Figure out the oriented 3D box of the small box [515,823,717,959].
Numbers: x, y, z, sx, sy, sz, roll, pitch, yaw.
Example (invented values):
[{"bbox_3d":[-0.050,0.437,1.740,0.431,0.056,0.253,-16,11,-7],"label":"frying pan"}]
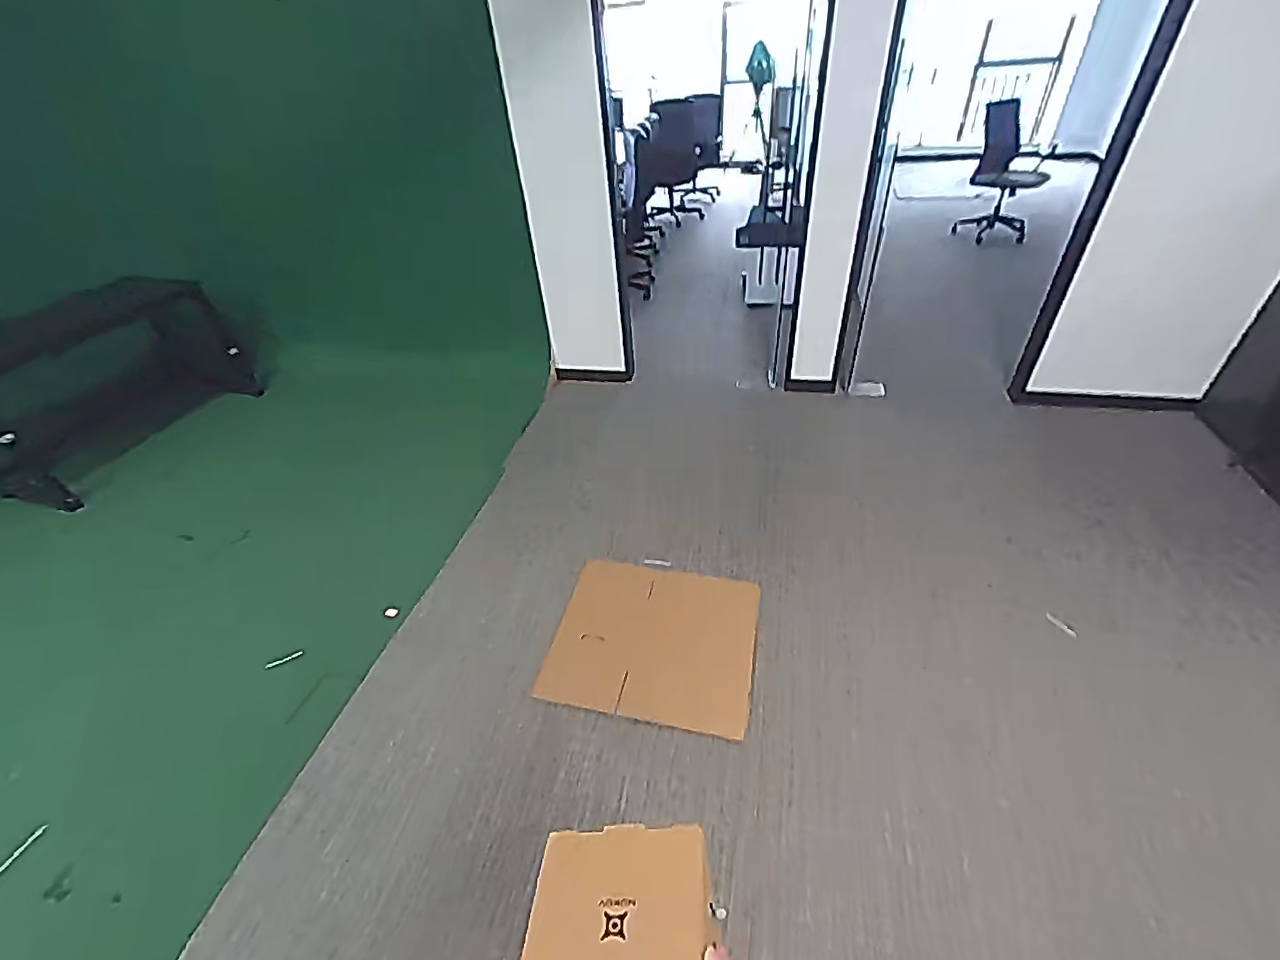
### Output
[{"bbox_3d":[-0.013,0.470,0.520,0.168,0.176,0.179,-7,22,7],"label":"small box"}]
